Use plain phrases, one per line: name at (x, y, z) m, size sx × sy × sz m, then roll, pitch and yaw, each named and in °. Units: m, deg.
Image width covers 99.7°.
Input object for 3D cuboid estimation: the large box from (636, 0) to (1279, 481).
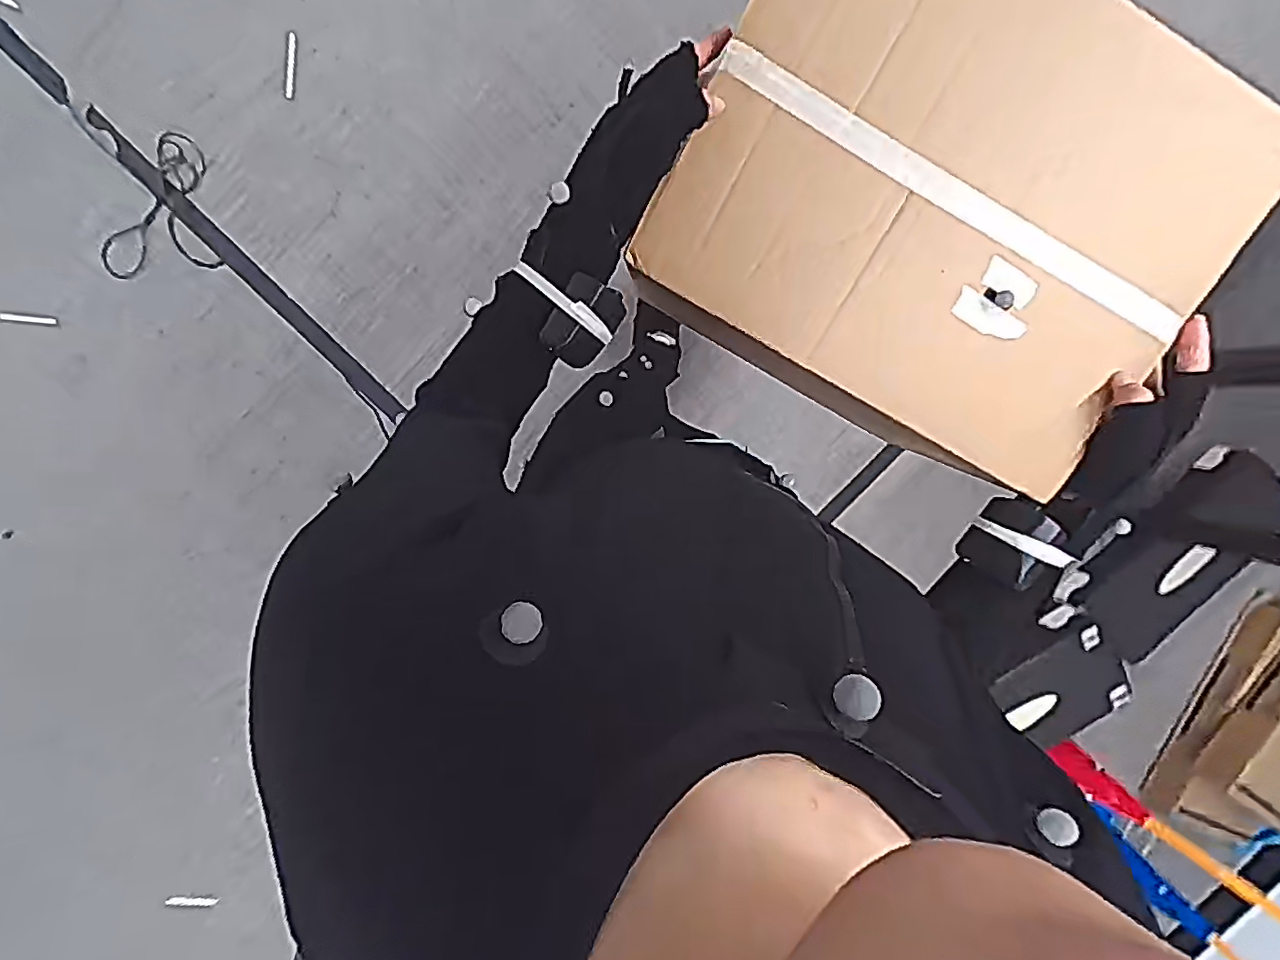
large box at (0.240, -0.252, 0.561) m, size 0.408 × 0.320 × 0.320 m, roll 29°, pitch 104°, yaw -6°
